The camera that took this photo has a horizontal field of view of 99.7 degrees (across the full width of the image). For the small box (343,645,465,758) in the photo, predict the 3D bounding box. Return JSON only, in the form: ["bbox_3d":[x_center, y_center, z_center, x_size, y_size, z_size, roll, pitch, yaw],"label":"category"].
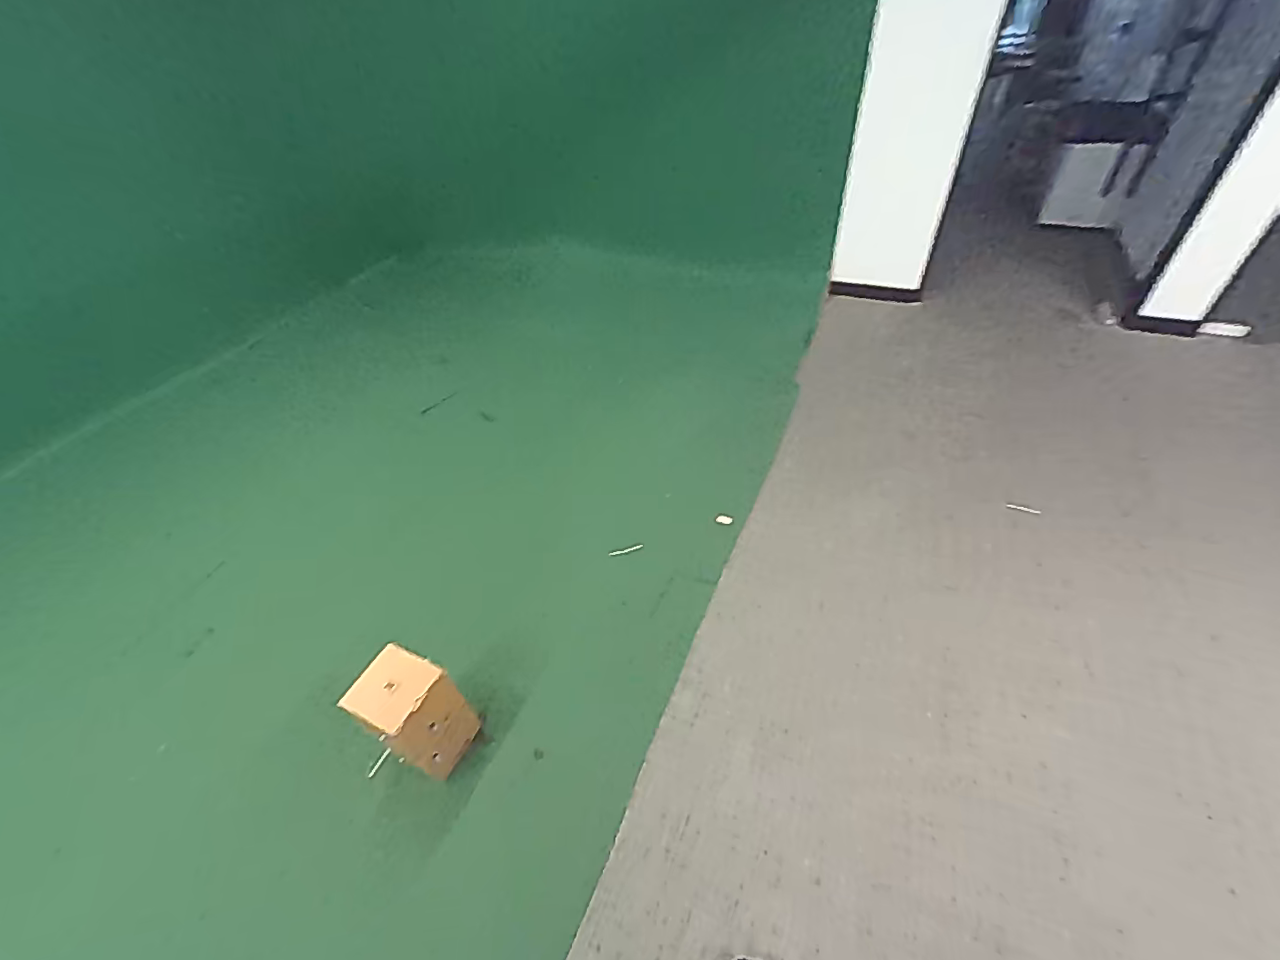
[{"bbox_3d":[-0.557,0.534,1.298,0.179,0.176,0.168,16,48,21],"label":"small box"}]
